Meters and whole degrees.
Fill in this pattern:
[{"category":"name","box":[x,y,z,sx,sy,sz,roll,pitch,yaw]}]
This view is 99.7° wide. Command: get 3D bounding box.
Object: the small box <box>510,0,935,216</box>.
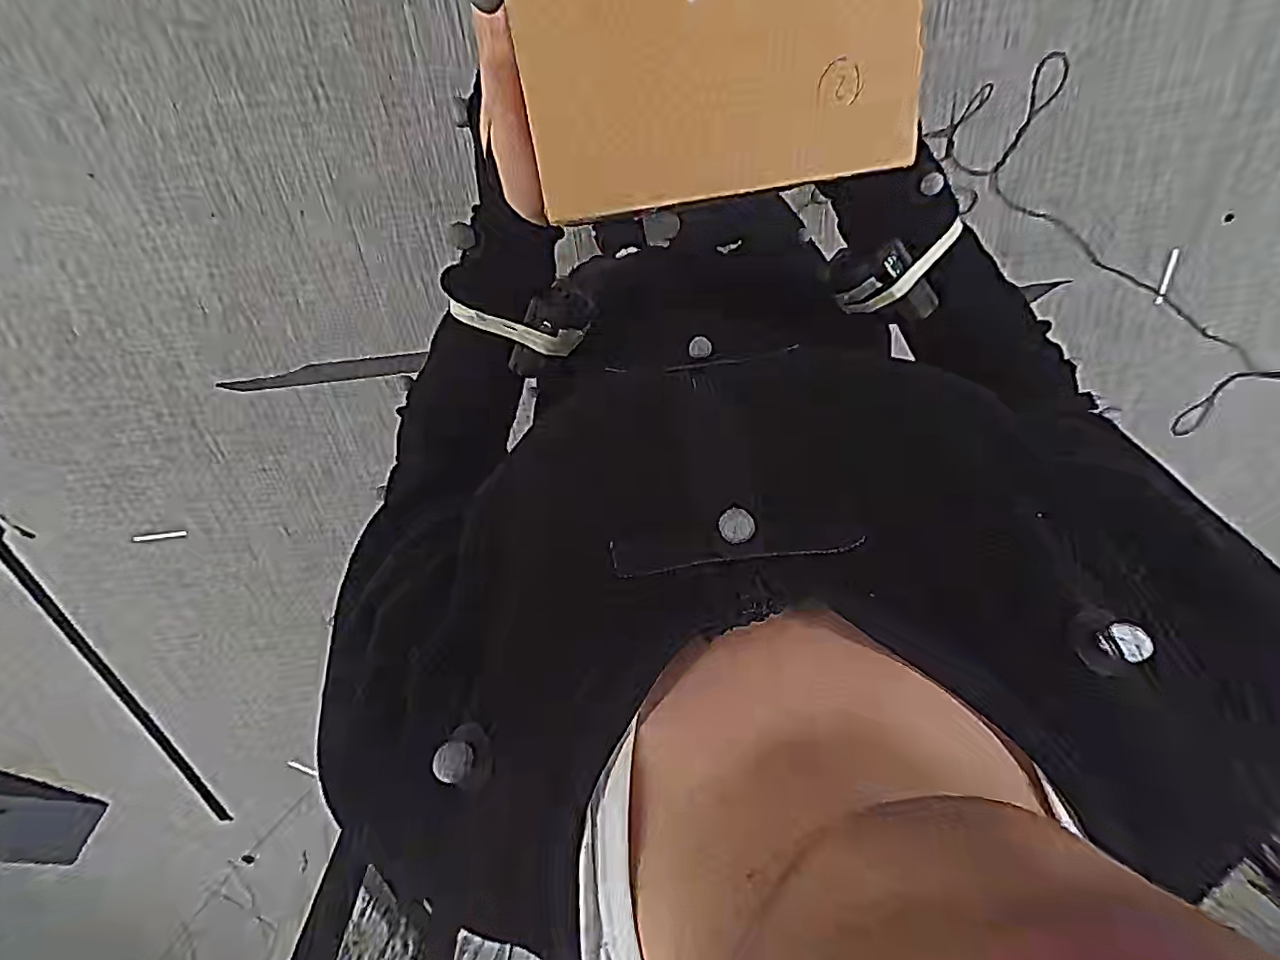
[{"category":"small box","box":[0.025,-0.238,0.270,0.168,0.176,0.179,-10,114,0]}]
